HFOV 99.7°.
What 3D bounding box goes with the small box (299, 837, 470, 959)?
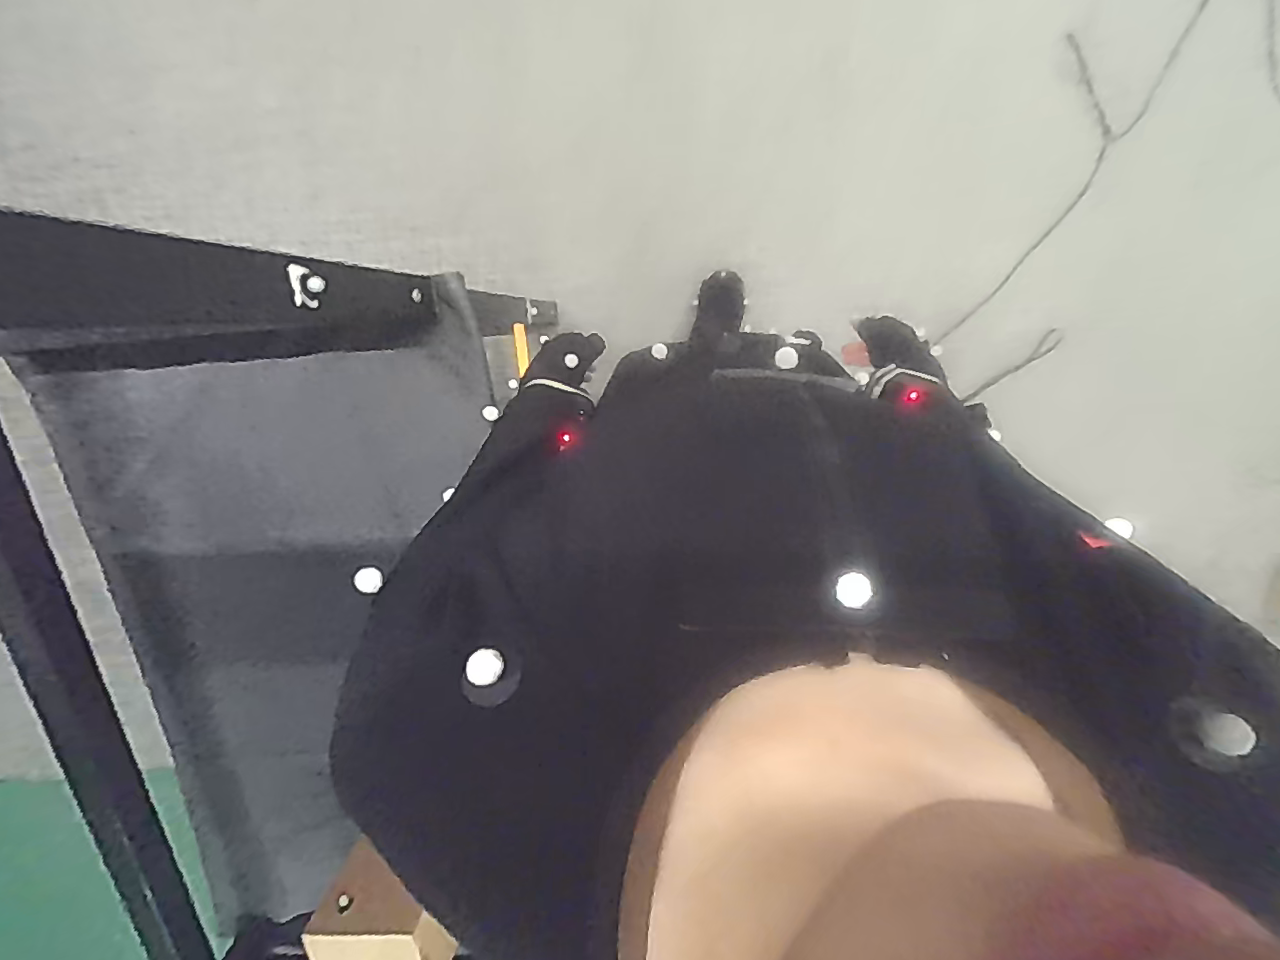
[{"bbox_3d":[-0.399,0.713,0.875,0.179,0.176,0.168,-4,106,4],"label":"small box"}]
